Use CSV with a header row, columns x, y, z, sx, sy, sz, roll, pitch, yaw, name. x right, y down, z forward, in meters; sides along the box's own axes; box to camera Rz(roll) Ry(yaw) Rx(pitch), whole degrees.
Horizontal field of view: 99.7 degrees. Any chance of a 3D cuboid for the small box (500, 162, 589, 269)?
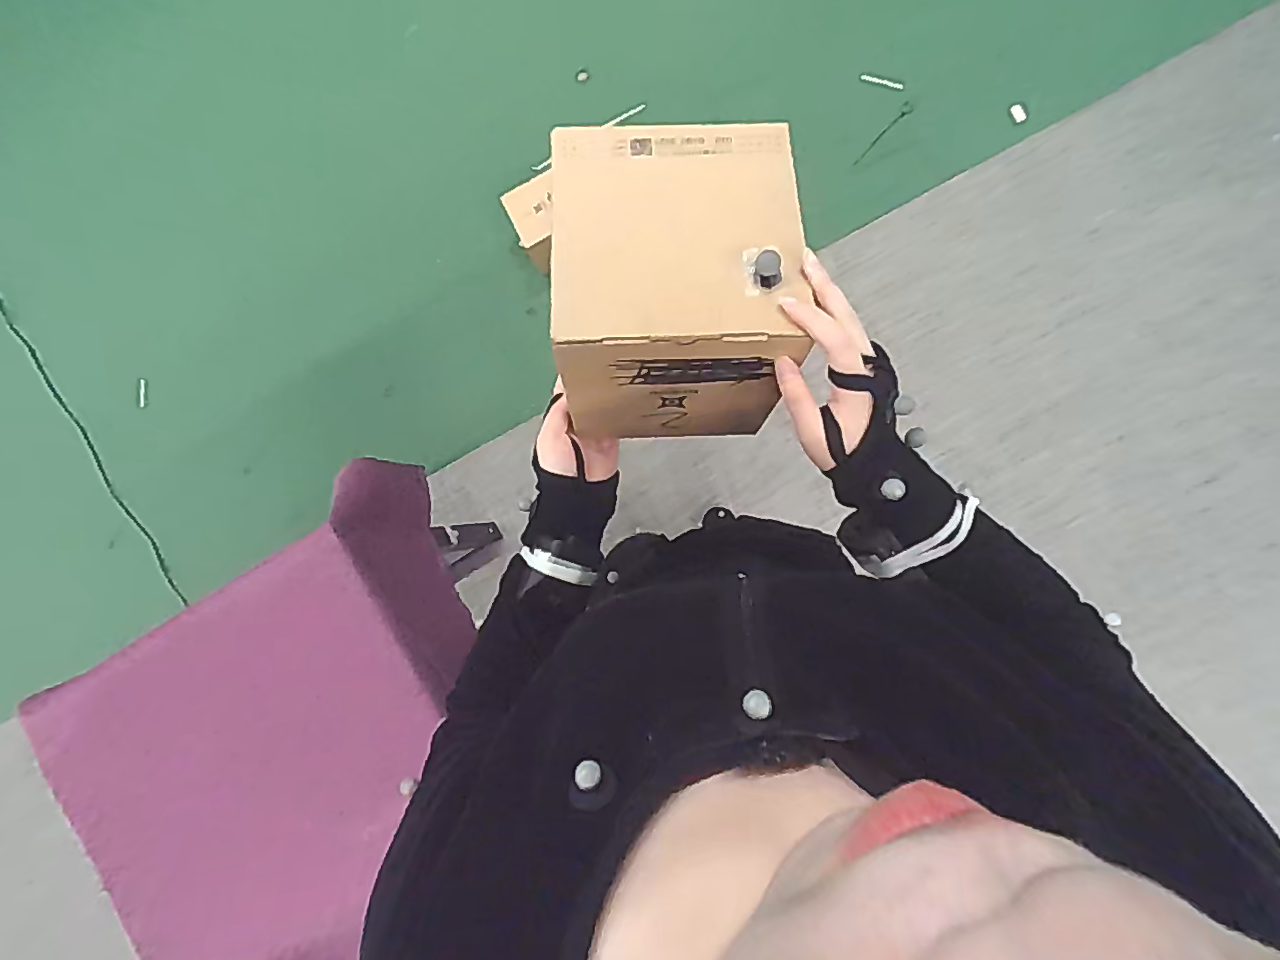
x,y,z,sx,sy,sz,roll,pitch,yaw,name
-0.254,-0.724,1.498,0.179,0.176,0.168,-27,85,5,small box
